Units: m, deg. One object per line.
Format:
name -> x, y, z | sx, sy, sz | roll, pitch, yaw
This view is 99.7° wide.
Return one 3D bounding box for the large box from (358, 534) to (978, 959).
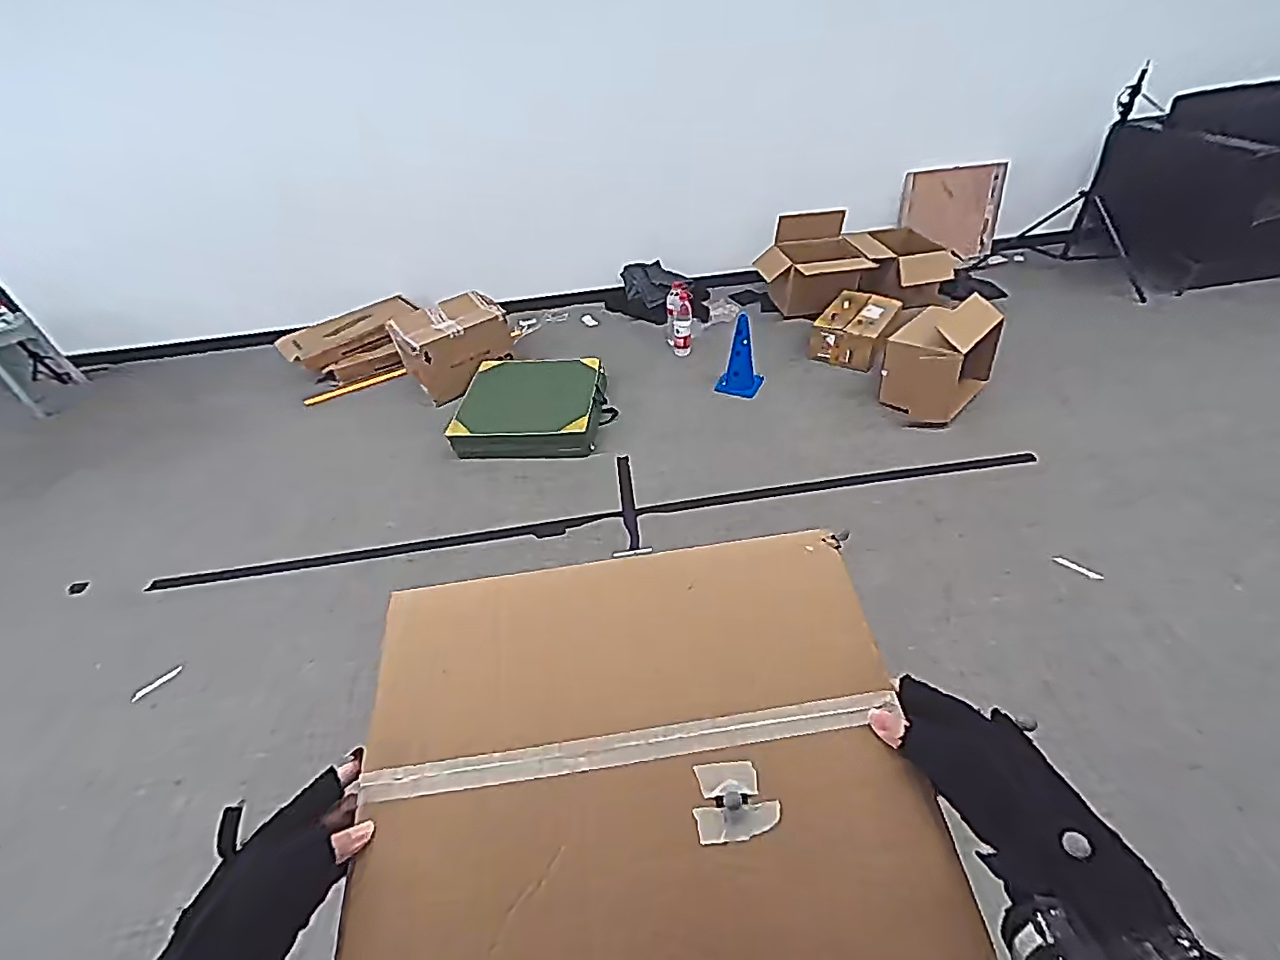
large box -> 0.006, 0.290, 0.537 | 0.408, 0.320, 0.320 | -8, 55, -1
